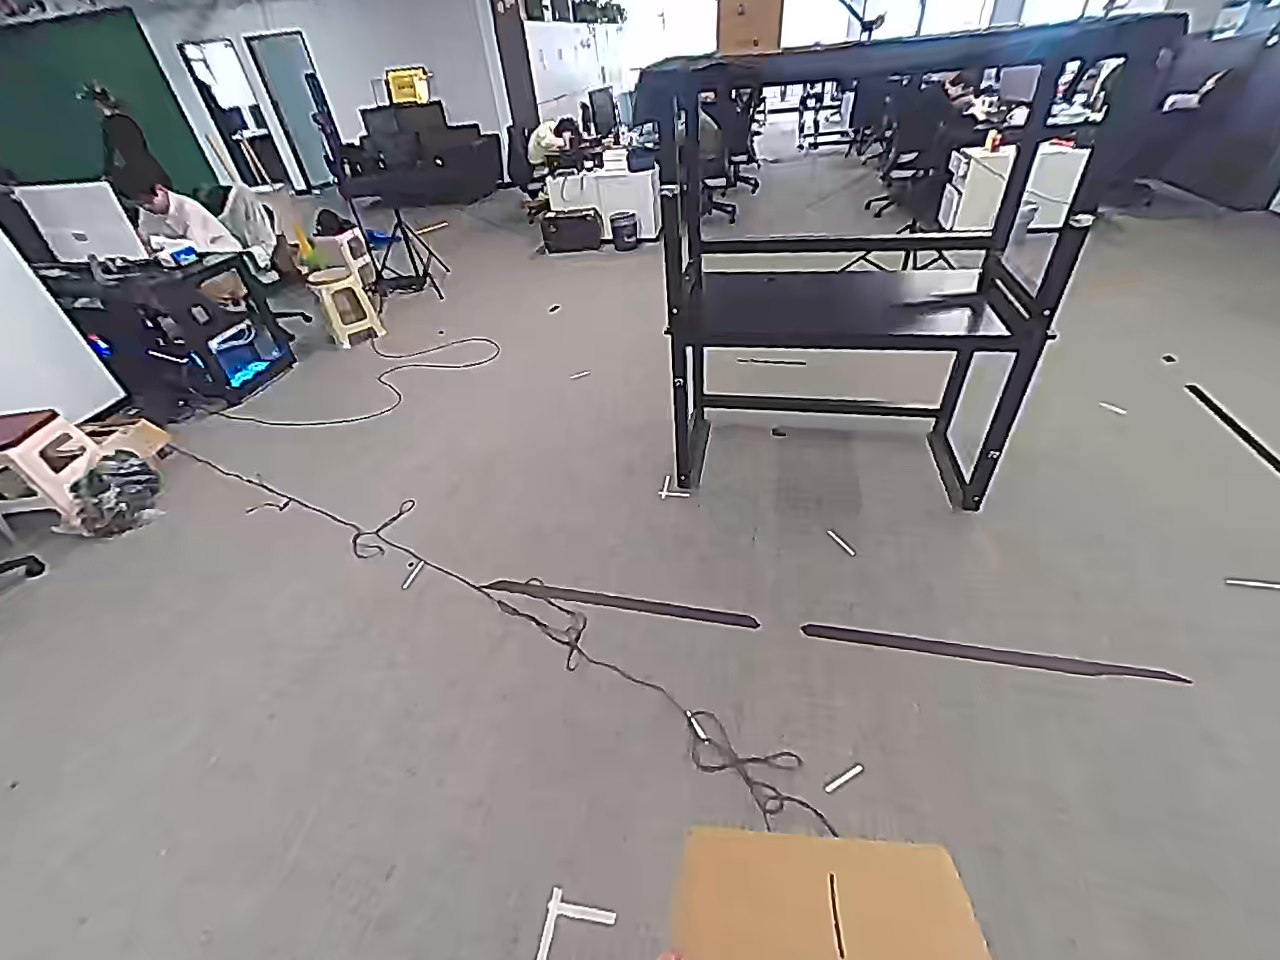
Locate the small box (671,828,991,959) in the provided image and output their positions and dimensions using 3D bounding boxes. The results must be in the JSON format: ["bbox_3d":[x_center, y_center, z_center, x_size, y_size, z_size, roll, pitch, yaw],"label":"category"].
[{"bbox_3d":[0.104,0.342,0.315,0.168,0.176,0.179,4,33,1],"label":"small box"}]

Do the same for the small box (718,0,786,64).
[{"bbox_3d":[0.294,-1.204,1.414,0.168,0.176,0.179,5,37,11],"label":"small box"}]
